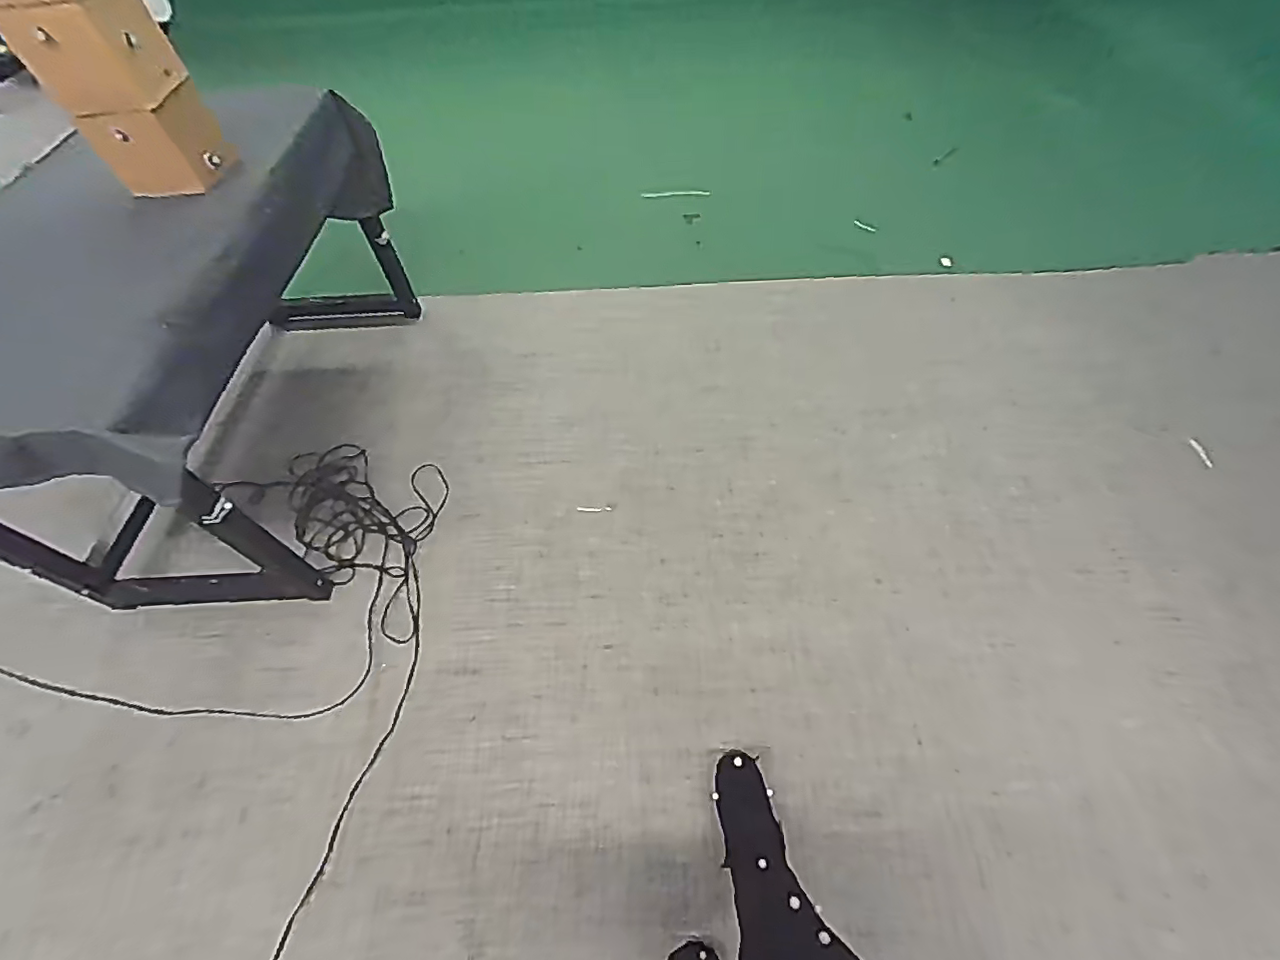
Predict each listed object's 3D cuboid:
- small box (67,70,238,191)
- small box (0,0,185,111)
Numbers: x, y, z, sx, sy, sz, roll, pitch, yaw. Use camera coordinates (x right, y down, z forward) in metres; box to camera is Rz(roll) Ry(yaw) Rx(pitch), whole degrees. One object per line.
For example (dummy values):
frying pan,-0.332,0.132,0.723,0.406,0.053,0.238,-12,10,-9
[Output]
small box,-1.020,-0.739,1.151,0.179,0.176,0.168,-1,58,2
small box,-1.020,-0.824,1.012,0.179,0.176,0.168,-3,58,3
